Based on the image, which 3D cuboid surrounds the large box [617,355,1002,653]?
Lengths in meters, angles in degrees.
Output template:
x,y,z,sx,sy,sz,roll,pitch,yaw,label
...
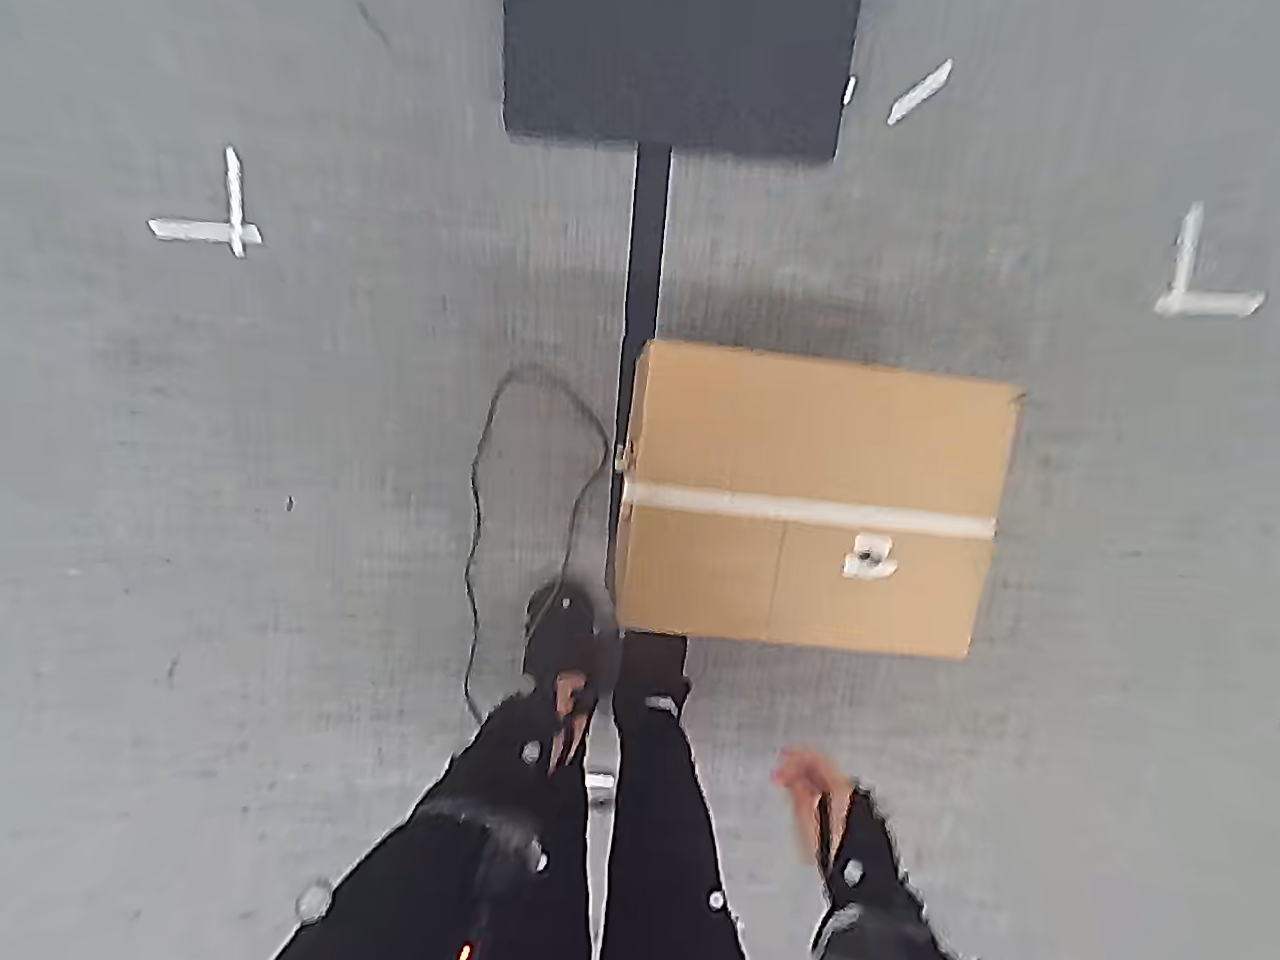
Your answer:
x,y,z,sx,sy,sz,roll,pitch,yaw,label
0.179,0.017,0.747,0.408,0.320,0.320,6,98,-4,large box
